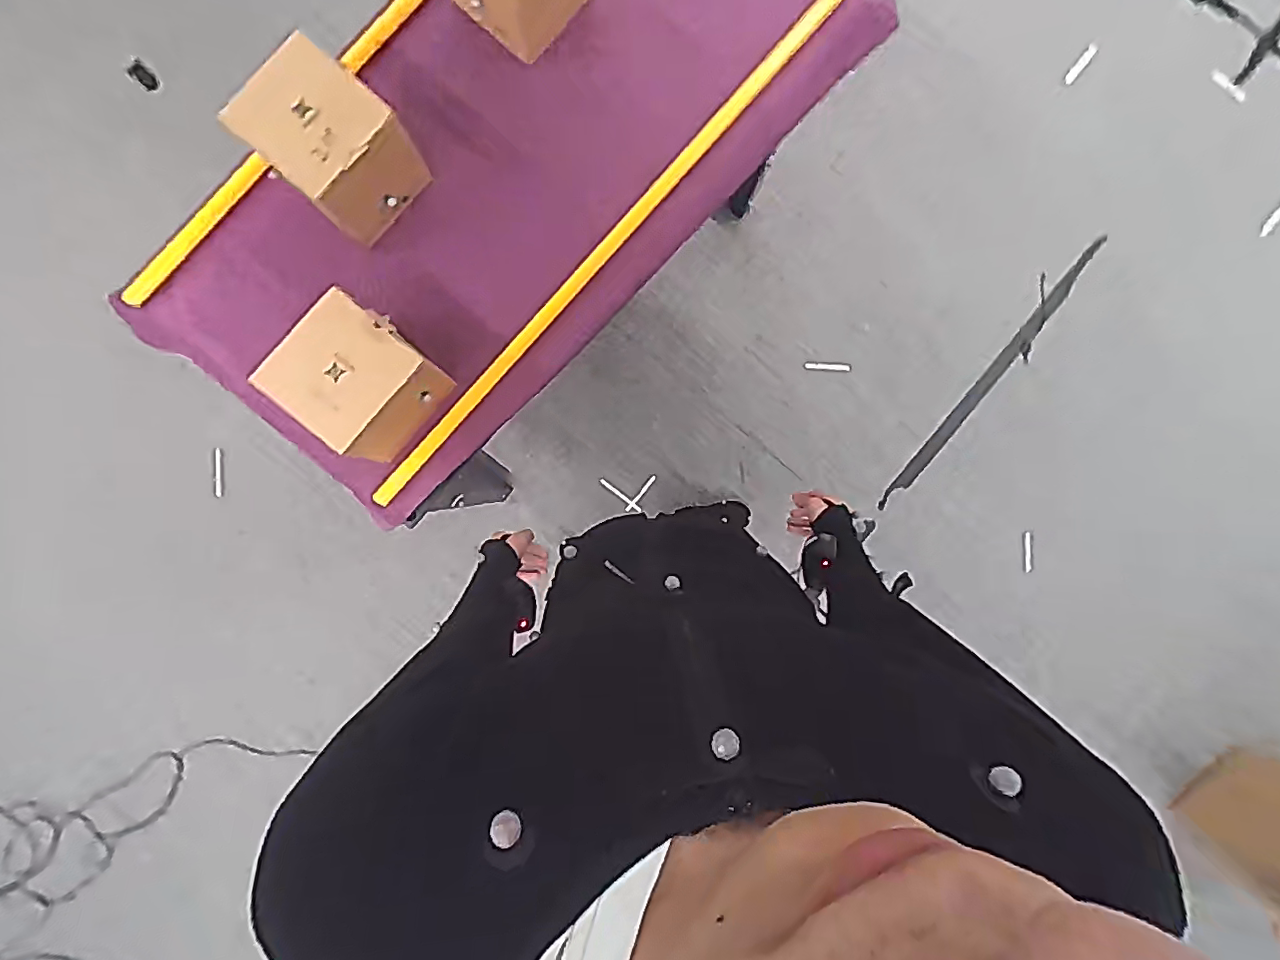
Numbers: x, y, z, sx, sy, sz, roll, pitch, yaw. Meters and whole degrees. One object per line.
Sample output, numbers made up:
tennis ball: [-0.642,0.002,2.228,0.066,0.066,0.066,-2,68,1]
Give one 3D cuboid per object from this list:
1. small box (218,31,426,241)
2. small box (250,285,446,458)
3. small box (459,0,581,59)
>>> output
small box: [-0.468,-0.506,0.826,0.179,0.176,0.168,40,89,-3]
small box: [-0.422,-0.151,0.823,0.168,0.176,0.179,39,86,-1]
small box: [-0.195,-0.829,0.842,0.168,0.176,0.179,41,89,-3]
